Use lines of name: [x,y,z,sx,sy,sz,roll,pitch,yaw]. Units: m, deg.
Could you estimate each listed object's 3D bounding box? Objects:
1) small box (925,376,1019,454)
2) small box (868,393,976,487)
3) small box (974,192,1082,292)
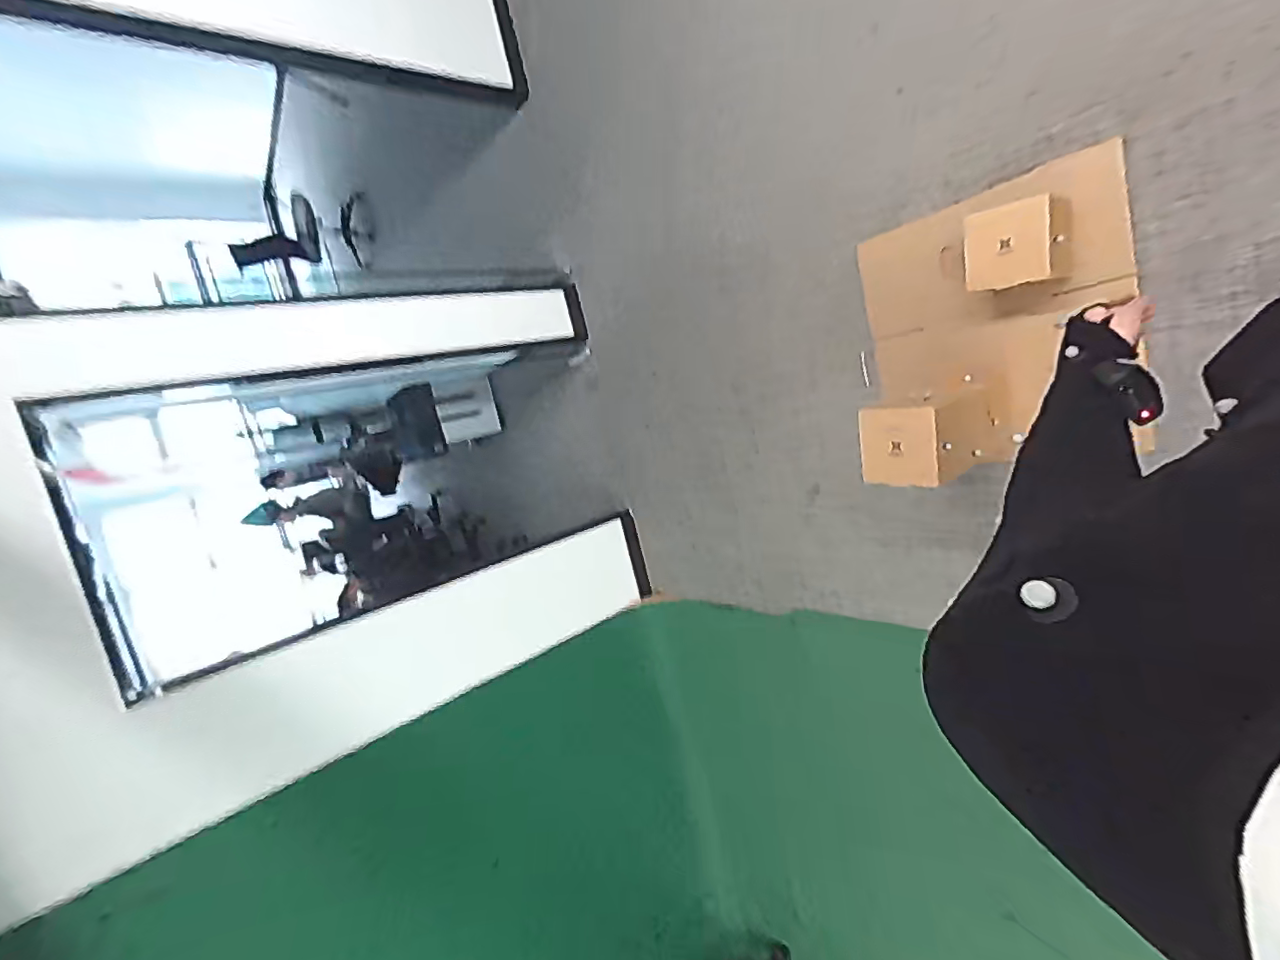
small box: [0.885,-0.172,1.436,0.168,0.176,0.179,3,106,52]
small box: [0.644,-0.094,1.229,0.168,0.176,0.179,6,109,50]
small box: [0.902,-0.546,1.258,0.168,0.176,0.179,5,109,52]
